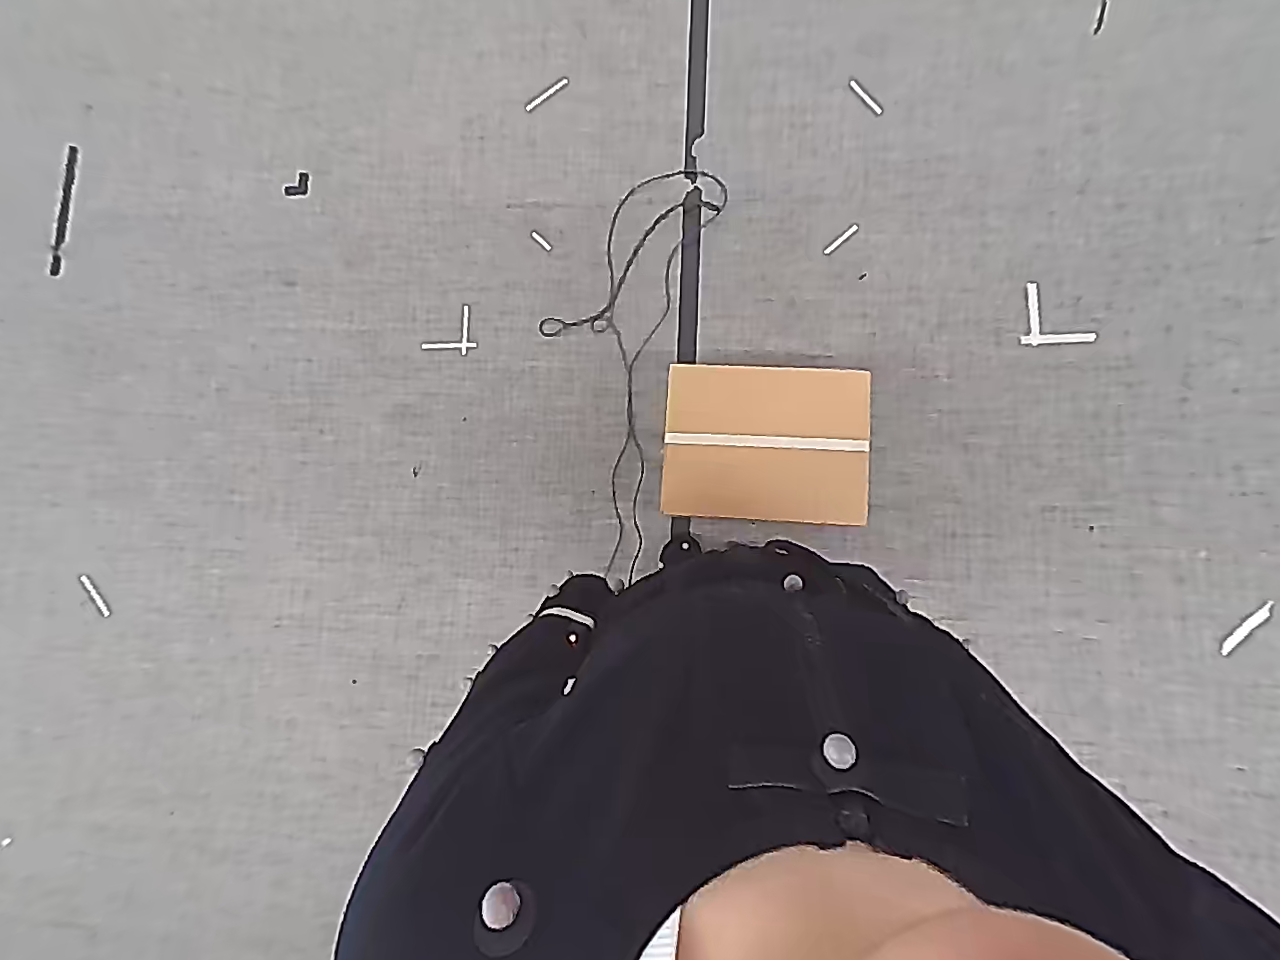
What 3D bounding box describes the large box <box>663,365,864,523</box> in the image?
[{"bbox_3d":[0.260,-0.065,1.244,0.408,0.320,0.320,3,86,5],"label":"large box"}]
